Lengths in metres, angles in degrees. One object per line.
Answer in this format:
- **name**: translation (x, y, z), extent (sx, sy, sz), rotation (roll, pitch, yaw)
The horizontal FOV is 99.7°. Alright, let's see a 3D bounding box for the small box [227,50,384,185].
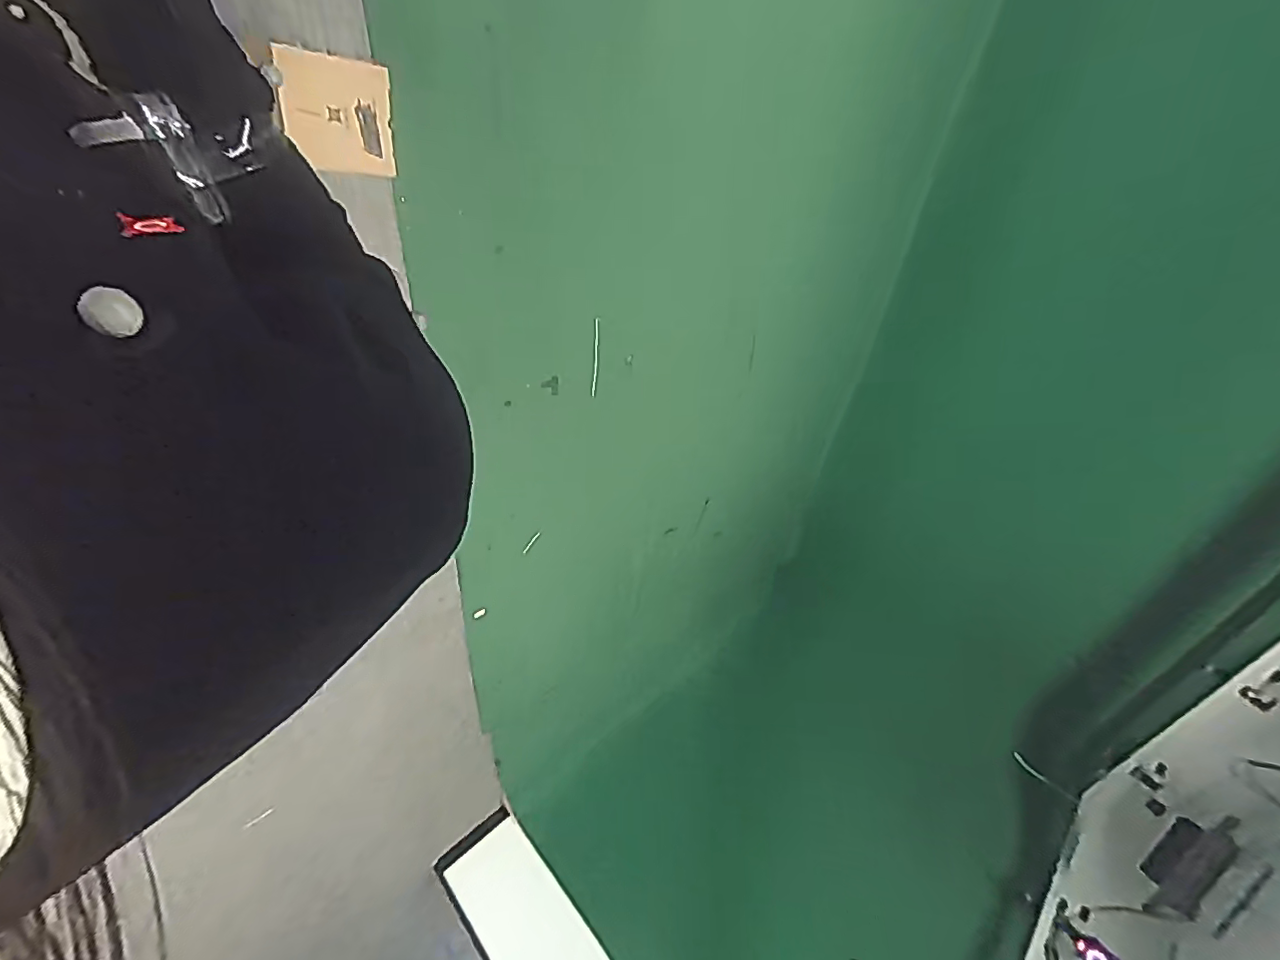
- **small box**: translation (-0.570, -0.620, 0.931), extent (0.179, 0.176, 0.168), rotation (-21, 133, -41)

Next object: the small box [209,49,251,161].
- **small box**: translation (-0.678, -0.699, 1.028), extent (0.179, 0.176, 0.168), rotation (-20, 132, -41)
